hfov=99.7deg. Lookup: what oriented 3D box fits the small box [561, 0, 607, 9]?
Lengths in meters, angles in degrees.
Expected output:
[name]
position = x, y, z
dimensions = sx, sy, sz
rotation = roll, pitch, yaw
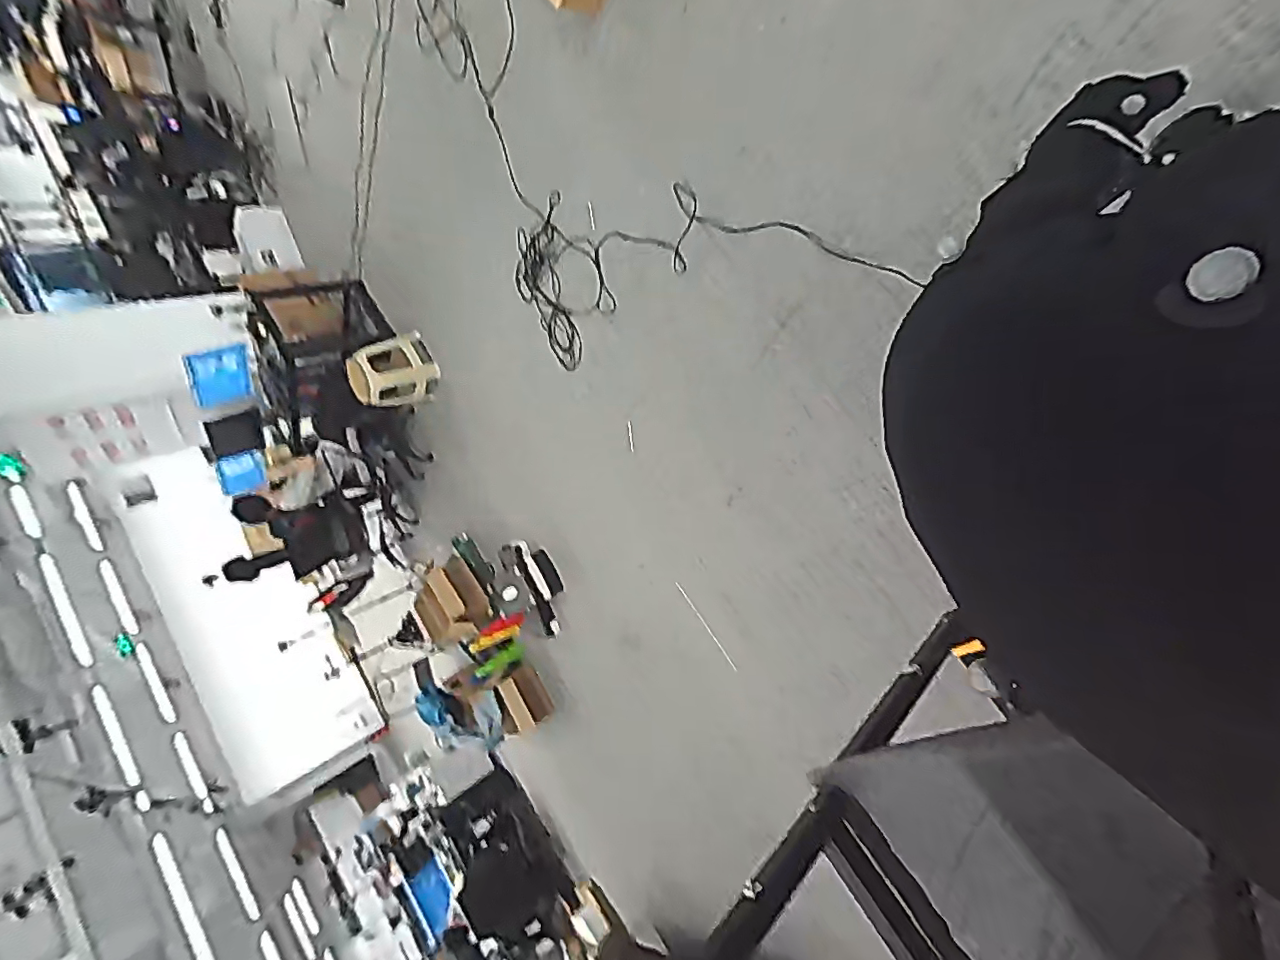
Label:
[small box]
position = -0.189, -1.601, 1.662
dimensions = 0.179, 0.176, 0.168
rotation = 56, 141, 11
